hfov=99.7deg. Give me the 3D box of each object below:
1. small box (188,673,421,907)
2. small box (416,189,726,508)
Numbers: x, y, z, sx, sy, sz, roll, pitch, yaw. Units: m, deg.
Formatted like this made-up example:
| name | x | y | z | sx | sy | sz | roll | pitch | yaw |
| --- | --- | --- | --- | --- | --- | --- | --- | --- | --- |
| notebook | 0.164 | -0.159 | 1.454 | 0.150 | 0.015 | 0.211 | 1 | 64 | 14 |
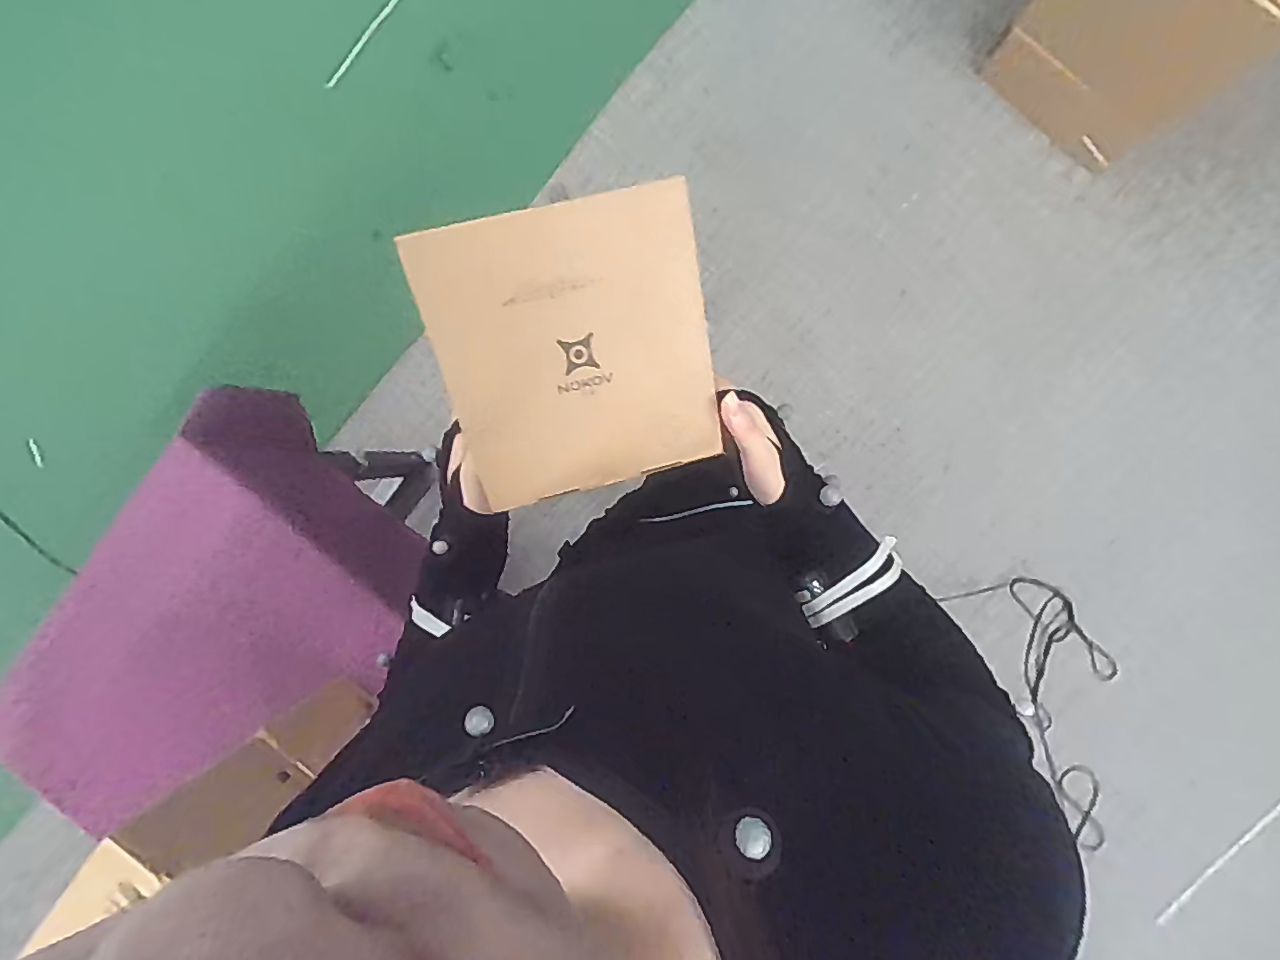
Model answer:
| name | x | y | z | sx | sy | sz | roll | pitch | yaw |
| --- | --- | --- | --- | --- | --- | --- | --- | --- | --- |
| small box | -0.438 | 0.405 | 0.737 | 0.168 | 0.176 | 0.179 | 41 | 96 | 1 |
| small box | -0.044 | -0.107 | 0.407 | 0.168 | 0.176 | 0.179 | -13 | 116 | -6 |
